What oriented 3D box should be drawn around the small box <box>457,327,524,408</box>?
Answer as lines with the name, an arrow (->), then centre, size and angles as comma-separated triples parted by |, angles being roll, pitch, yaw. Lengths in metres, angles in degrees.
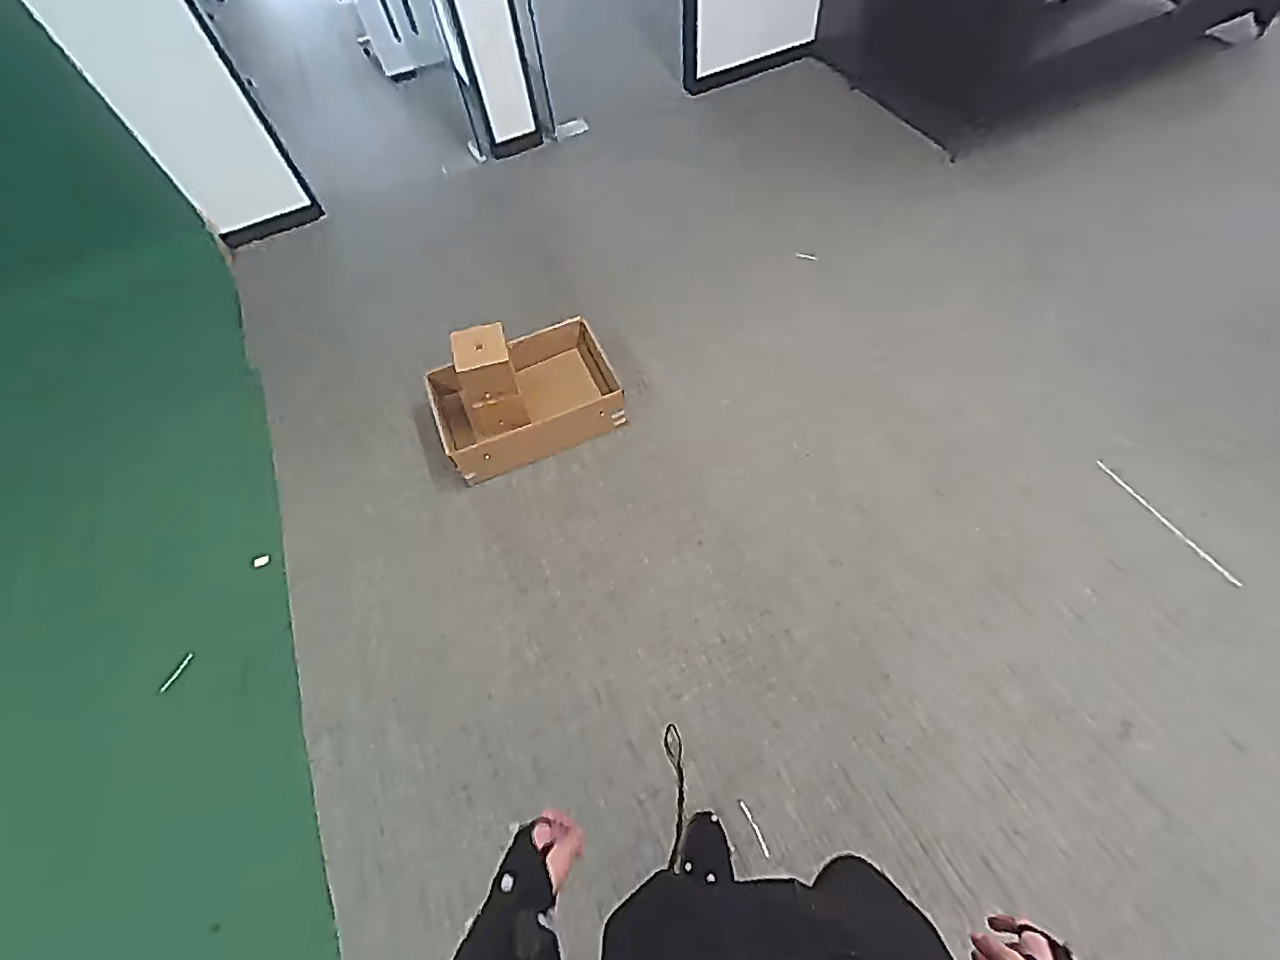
small box -> -0.488, -0.366, 1.771 | 0.168, 0.176, 0.179 | -15, 60, -7

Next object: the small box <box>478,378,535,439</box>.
small box -> -0.481, -0.276, 1.907 | 0.168, 0.176, 0.179 | -18, 60, -9
